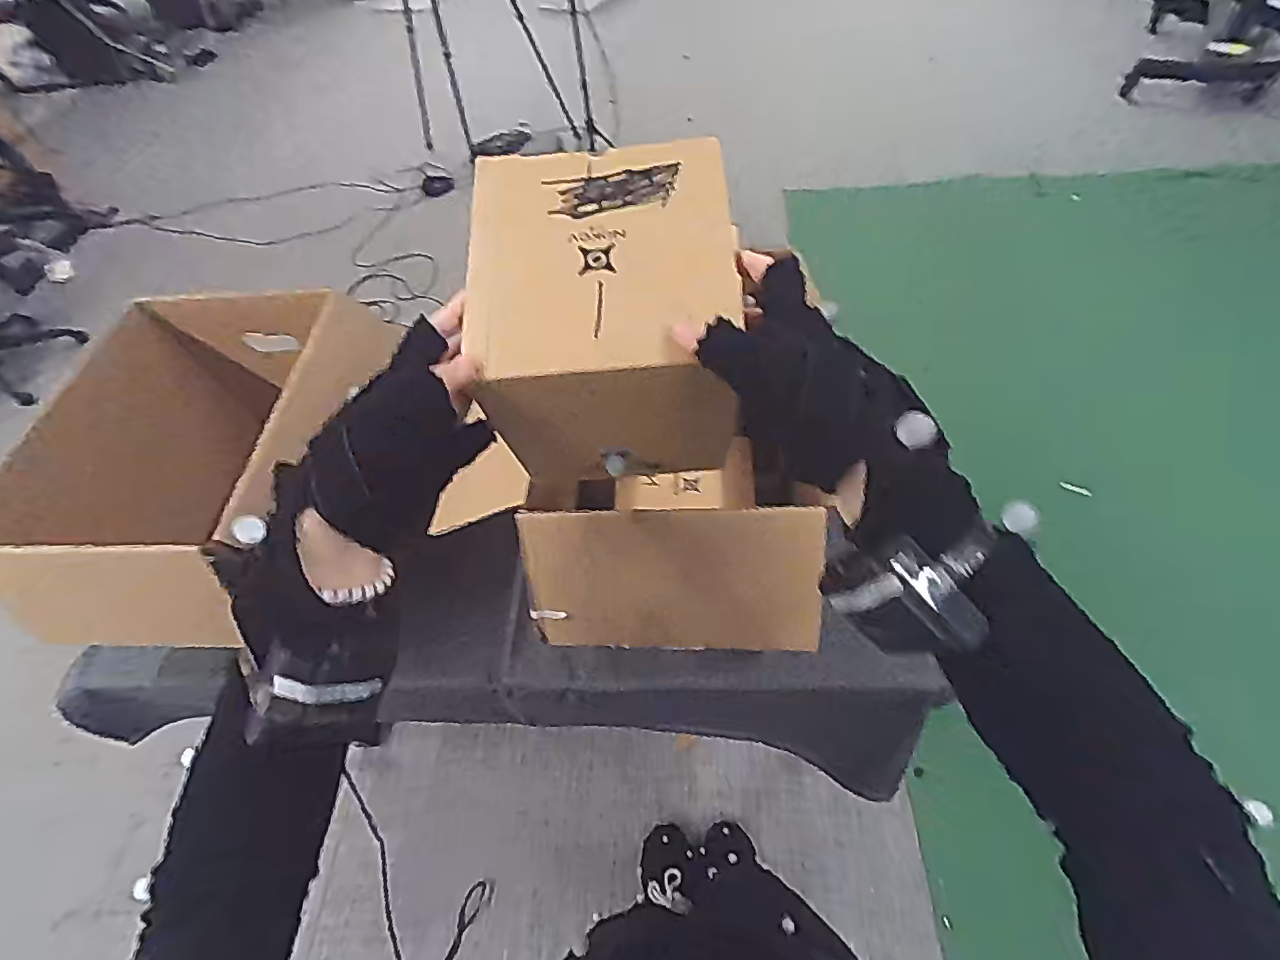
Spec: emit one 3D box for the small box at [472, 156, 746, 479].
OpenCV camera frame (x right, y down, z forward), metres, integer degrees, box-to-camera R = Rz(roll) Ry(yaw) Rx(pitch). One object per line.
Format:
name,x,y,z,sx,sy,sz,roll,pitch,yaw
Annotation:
small box,-0.016,-0.113,0.422,0.168,0.176,0.179,-3,68,3
